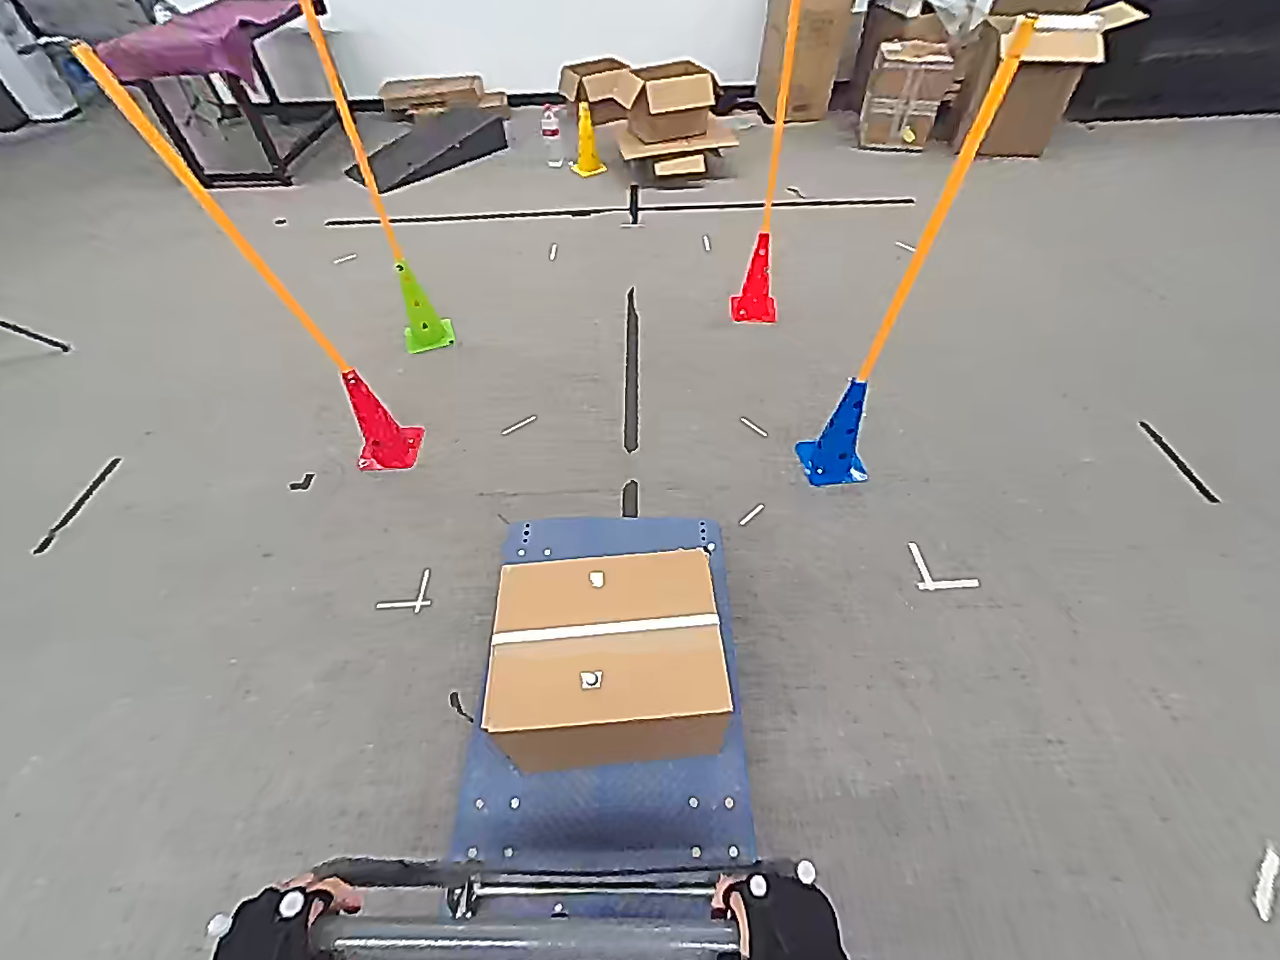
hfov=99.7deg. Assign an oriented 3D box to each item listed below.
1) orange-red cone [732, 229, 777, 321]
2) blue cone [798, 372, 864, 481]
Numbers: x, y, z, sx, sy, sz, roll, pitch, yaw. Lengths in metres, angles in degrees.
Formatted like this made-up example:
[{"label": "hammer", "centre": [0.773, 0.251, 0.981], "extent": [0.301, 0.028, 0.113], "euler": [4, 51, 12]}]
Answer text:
[{"label": "orange-red cone", "centre": [0.509, -0.880, 2.287], "extent": [0.199, 0.360, 0.198], "euler": [4, 51, 4]}, {"label": "blue cone", "centre": [0.648, -0.178, 1.723], "extent": [0.193, 0.380, 0.192], "euler": [-4, 49, -2]}]
